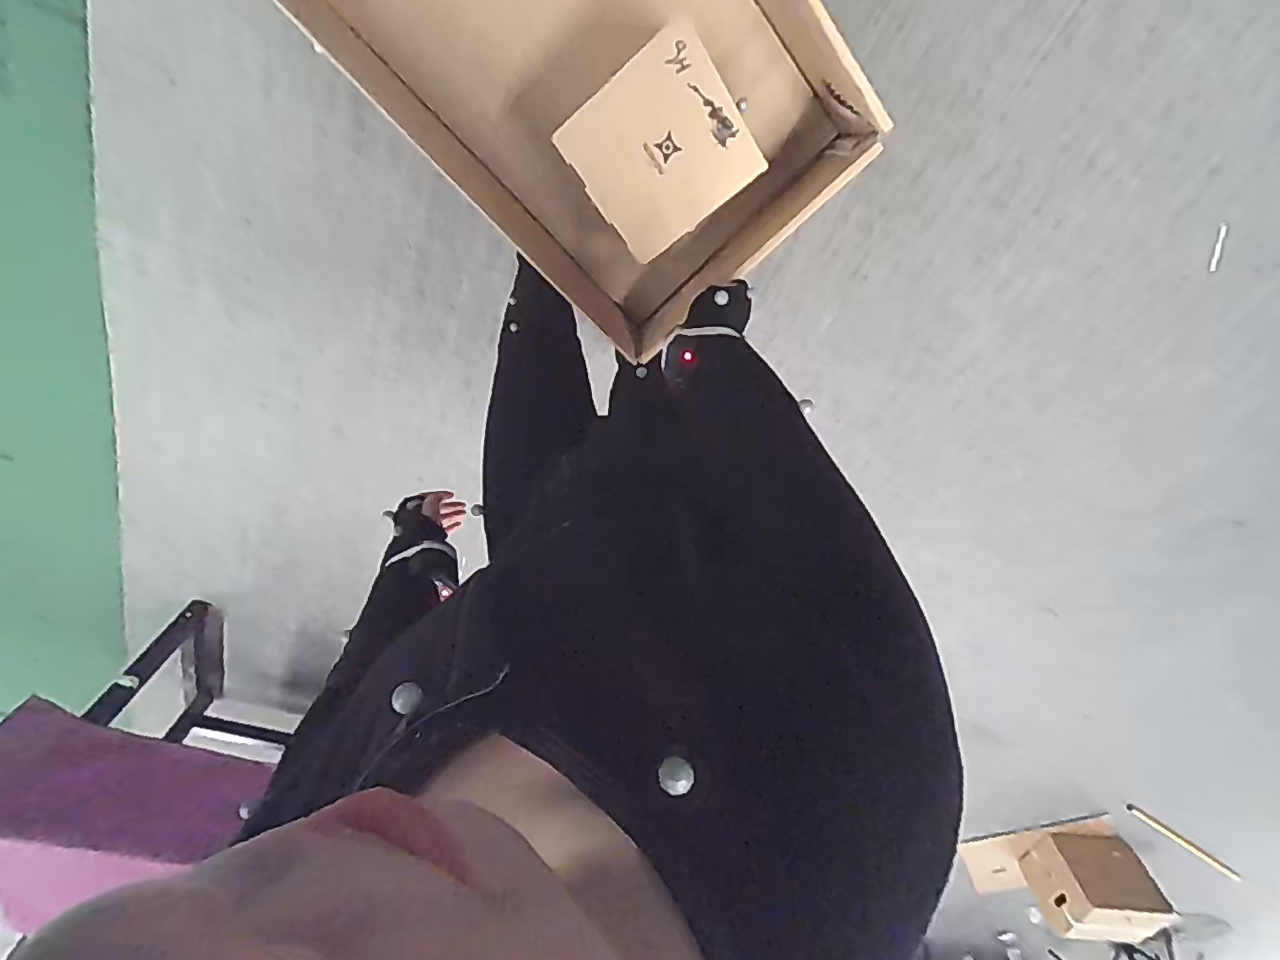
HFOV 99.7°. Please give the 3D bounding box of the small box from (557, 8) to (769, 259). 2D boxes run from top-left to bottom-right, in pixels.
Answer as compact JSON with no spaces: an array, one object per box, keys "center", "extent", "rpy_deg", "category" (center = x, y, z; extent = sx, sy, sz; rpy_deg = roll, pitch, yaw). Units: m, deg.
[{"center":[0.029,-0.400,0.646],"extent":[0.179,0.176,0.168],"rpy_deg":[-32,118,20],"category":"small box"}]
